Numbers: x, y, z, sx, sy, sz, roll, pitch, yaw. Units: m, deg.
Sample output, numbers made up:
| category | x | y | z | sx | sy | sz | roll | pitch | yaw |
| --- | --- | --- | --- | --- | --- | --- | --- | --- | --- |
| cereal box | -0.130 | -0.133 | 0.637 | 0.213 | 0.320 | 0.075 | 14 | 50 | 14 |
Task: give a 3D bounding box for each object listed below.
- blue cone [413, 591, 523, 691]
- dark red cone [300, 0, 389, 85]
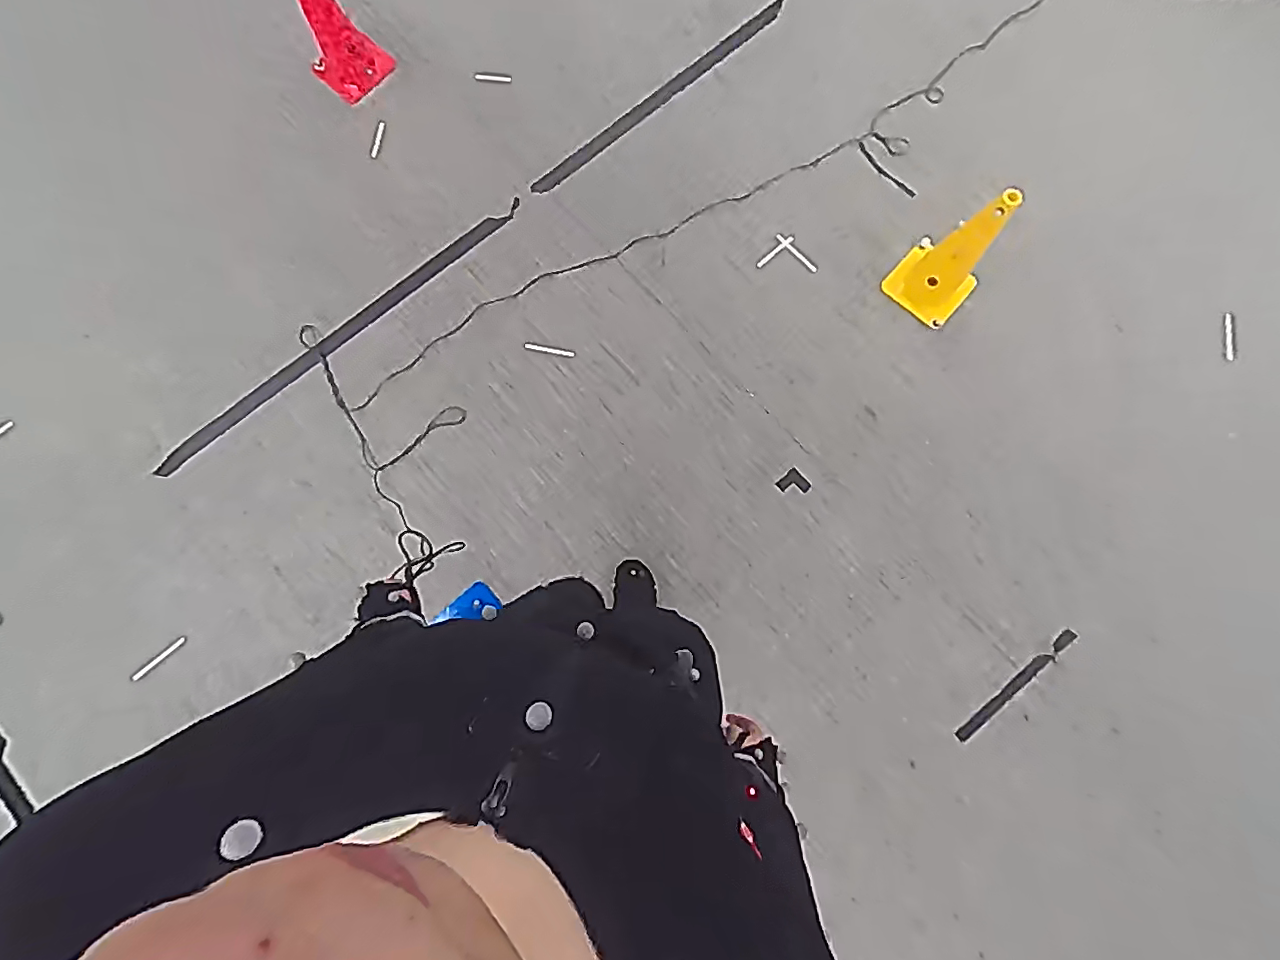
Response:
| category | x | y | z | sx | sy | sz | roll | pitch | yaw |
| --- | --- | --- | --- | --- | --- | --- | --- | --- | --- |
| blue cone | -0.409 | 0.370 | 1.181 | 0.193 | 0.380 | 0.192 | -40 | 83 | -5 |
| dark red cone | -0.872 | -1.307 | 1.444 | 0.201 | 0.394 | 0.202 | 41 | 83 | 6 |
